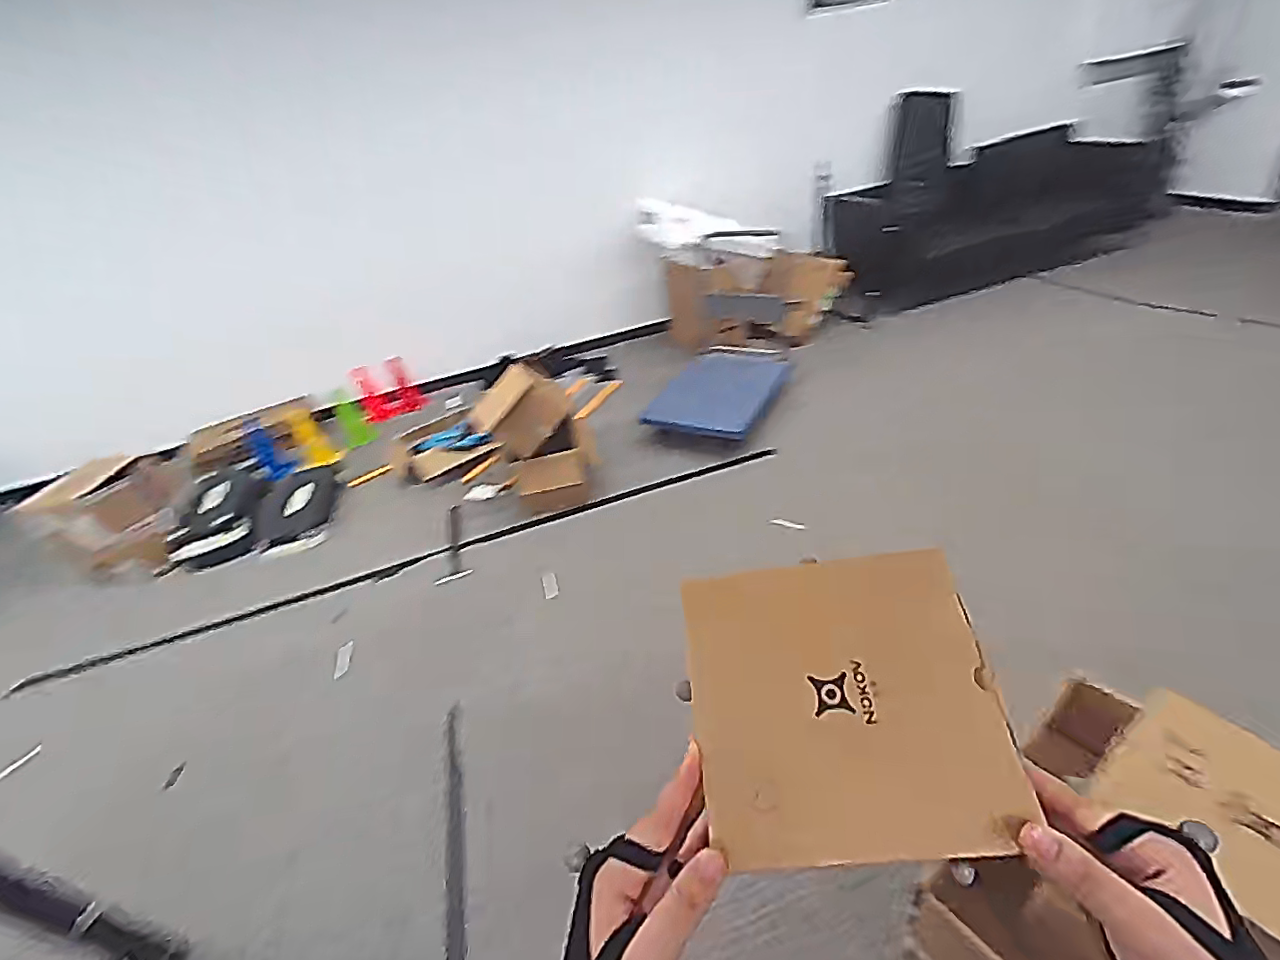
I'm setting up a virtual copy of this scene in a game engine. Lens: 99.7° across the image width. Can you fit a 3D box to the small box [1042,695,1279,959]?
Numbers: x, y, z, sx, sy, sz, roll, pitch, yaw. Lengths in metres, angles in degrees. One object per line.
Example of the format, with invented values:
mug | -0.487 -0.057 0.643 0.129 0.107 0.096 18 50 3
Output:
small box | 0.516 0.345 0.488 0.168 0.176 0.179 -28 38 -22
